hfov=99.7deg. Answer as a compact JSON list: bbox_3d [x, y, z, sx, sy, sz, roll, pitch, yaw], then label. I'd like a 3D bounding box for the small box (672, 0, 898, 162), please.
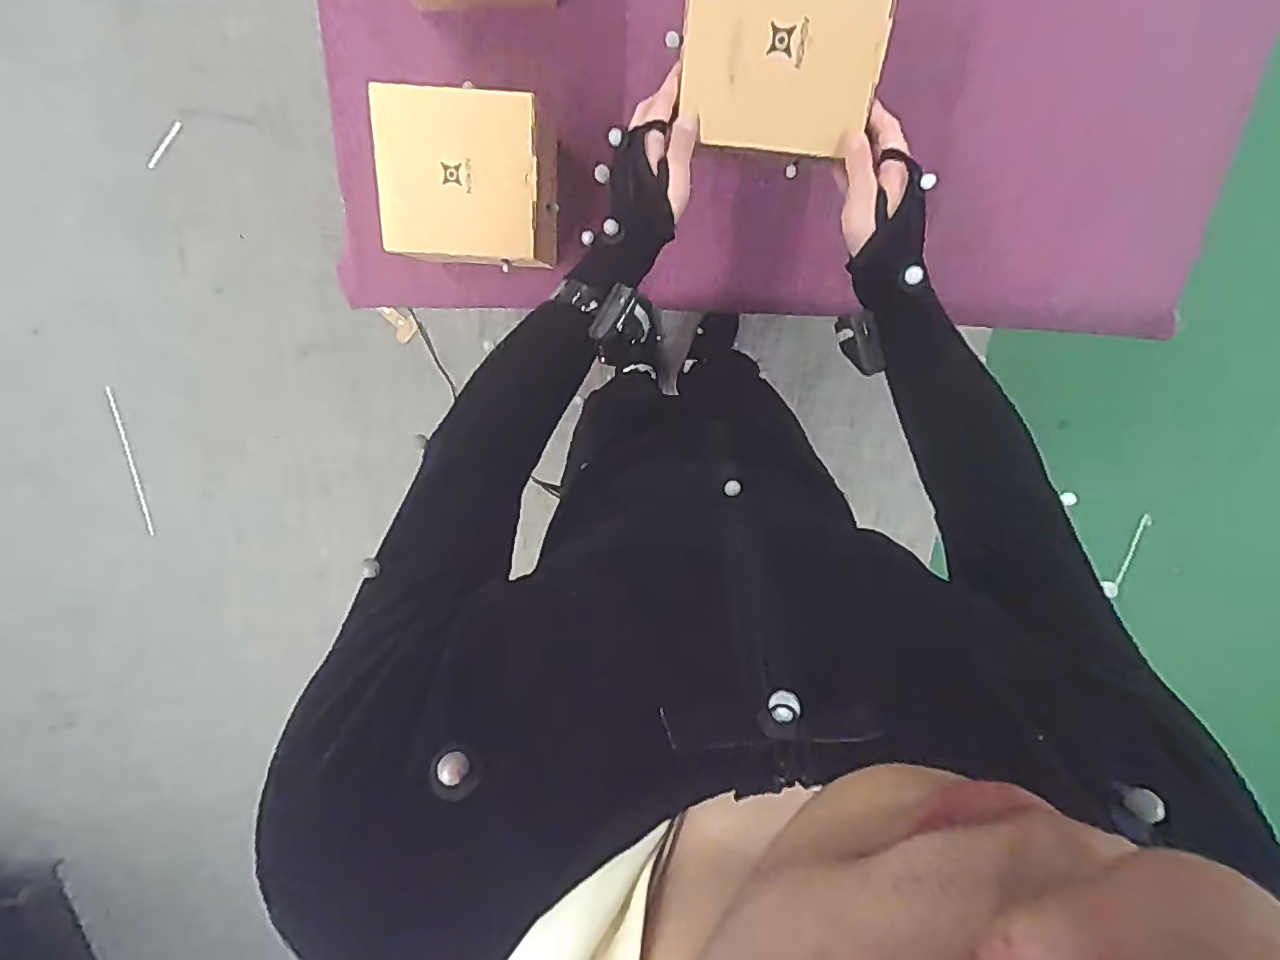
[{"bbox_3d":[0.129,-0.420,0.534,0.179,0.176,0.168,6,117,-1],"label":"small box"}]

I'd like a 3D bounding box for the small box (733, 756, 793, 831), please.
[{"bbox_3d":[0.444,1.143,1.978,0.168,0.176,0.179,4,110,-2],"label":"small box"}]

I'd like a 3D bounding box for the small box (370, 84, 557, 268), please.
[{"bbox_3d":[-0.203,-0.357,0.667,0.179,0.176,0.168,2,108,-2],"label":"small box"}]

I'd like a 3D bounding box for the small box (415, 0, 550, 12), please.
[{"bbox_3d":[-0.191,-0.630,0.569,0.179,0.176,0.168,-1,110,-1],"label":"small box"}]
